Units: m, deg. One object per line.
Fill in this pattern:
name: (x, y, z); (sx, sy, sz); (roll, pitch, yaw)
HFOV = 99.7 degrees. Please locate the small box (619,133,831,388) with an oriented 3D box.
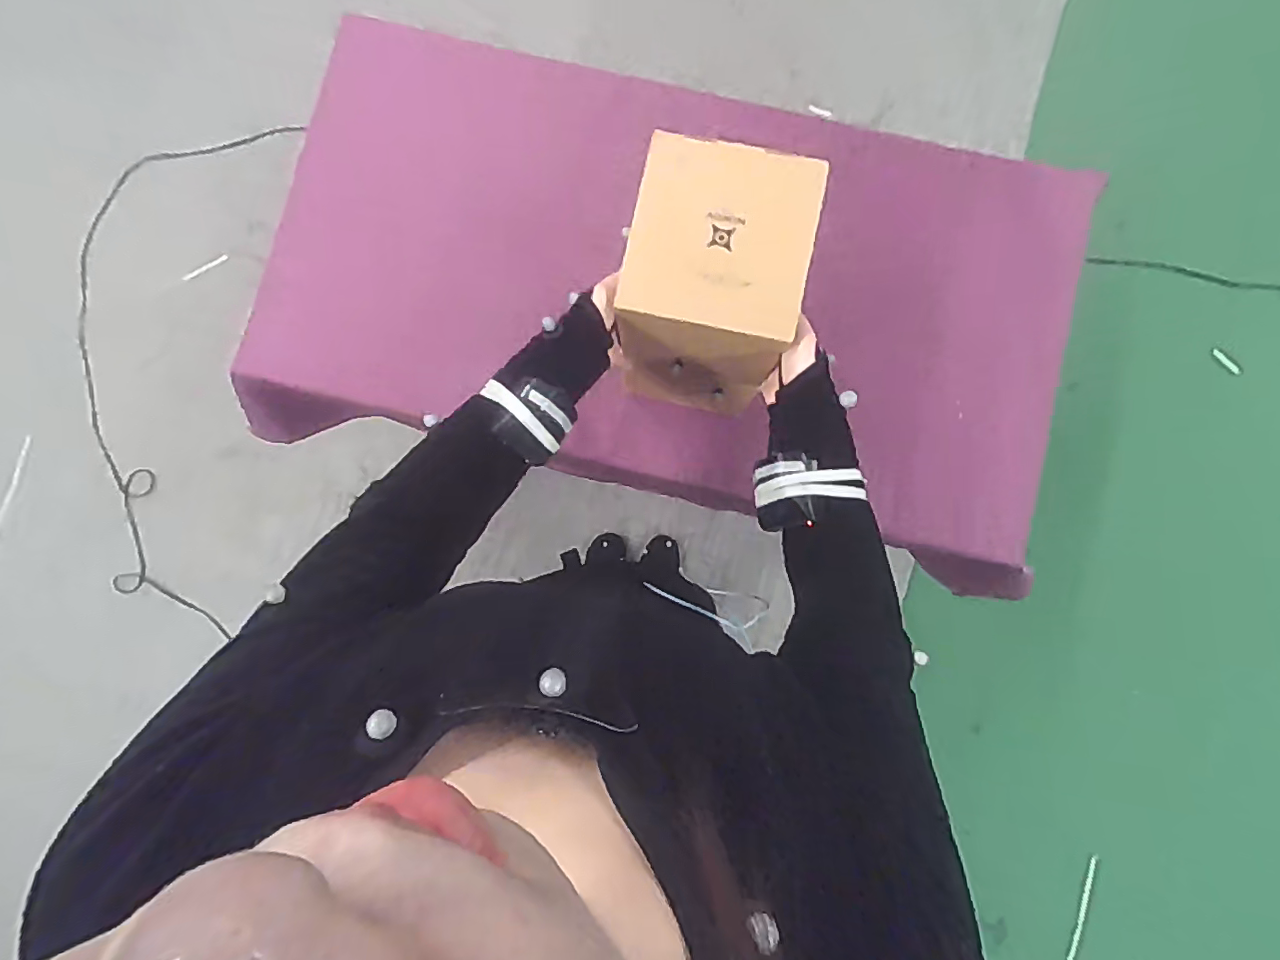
small box: (0.080, -0.215, 0.572); (0.168, 0.176, 0.179); (13, 86, 3)

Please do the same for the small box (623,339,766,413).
small box: (0.084, -0.198, 0.735); (0.179, 0.176, 0.168); (15, 85, 2)
